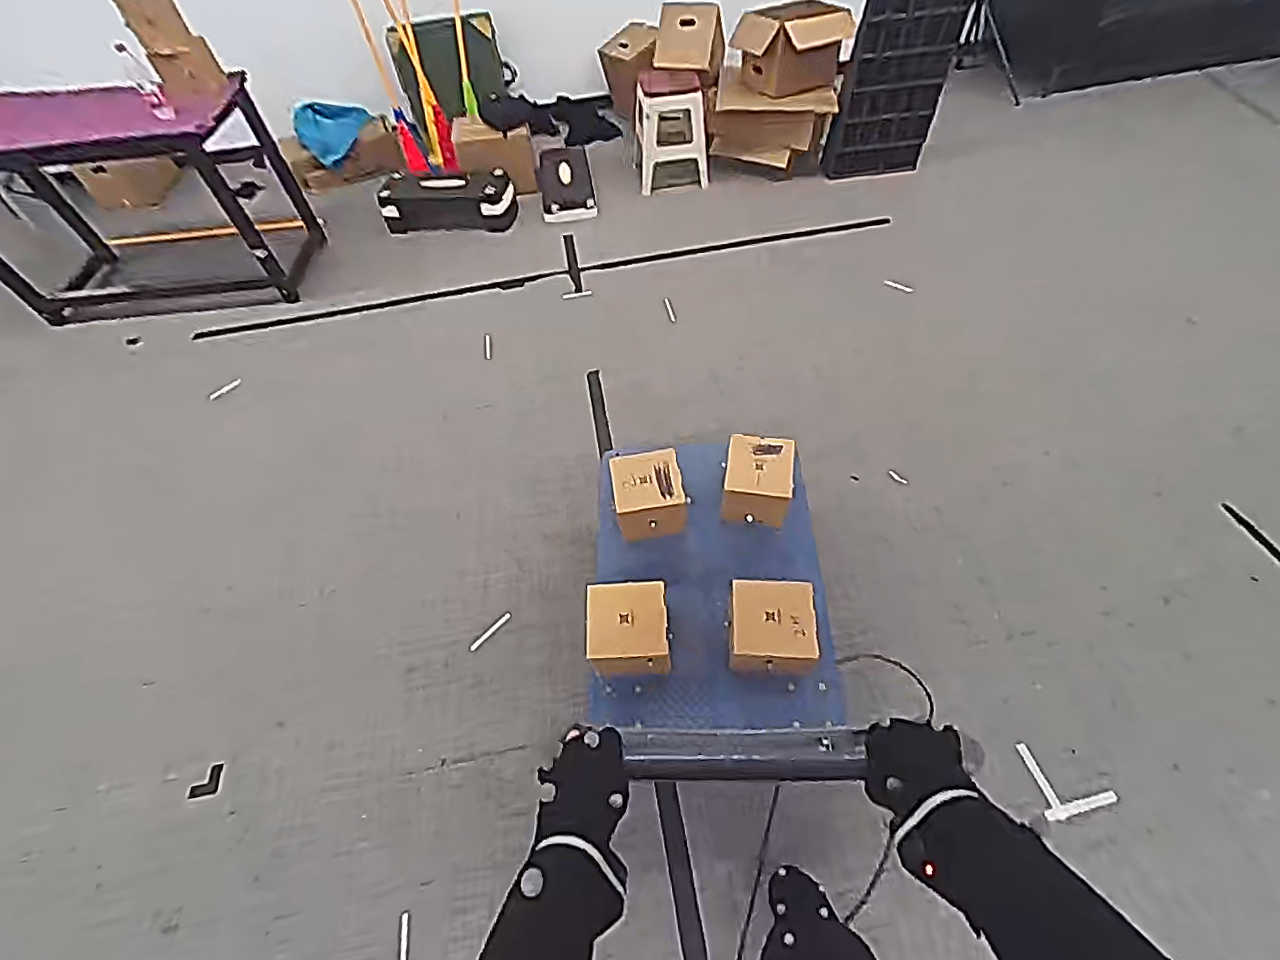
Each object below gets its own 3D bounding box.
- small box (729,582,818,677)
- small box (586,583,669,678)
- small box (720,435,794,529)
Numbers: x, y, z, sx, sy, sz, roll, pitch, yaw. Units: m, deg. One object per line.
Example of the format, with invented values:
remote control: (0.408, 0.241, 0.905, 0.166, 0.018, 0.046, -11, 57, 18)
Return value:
small box: (0.290, 0.339, 1.218, 0.179, 0.176, 0.168, 1, 58, 6)
small box: (-0.026, 0.349, 1.238, 0.179, 0.176, 0.168, -4, 58, 1)
small box: (0.304, 0.008, 1.425, 0.168, 0.176, 0.179, 7, 60, 9)
